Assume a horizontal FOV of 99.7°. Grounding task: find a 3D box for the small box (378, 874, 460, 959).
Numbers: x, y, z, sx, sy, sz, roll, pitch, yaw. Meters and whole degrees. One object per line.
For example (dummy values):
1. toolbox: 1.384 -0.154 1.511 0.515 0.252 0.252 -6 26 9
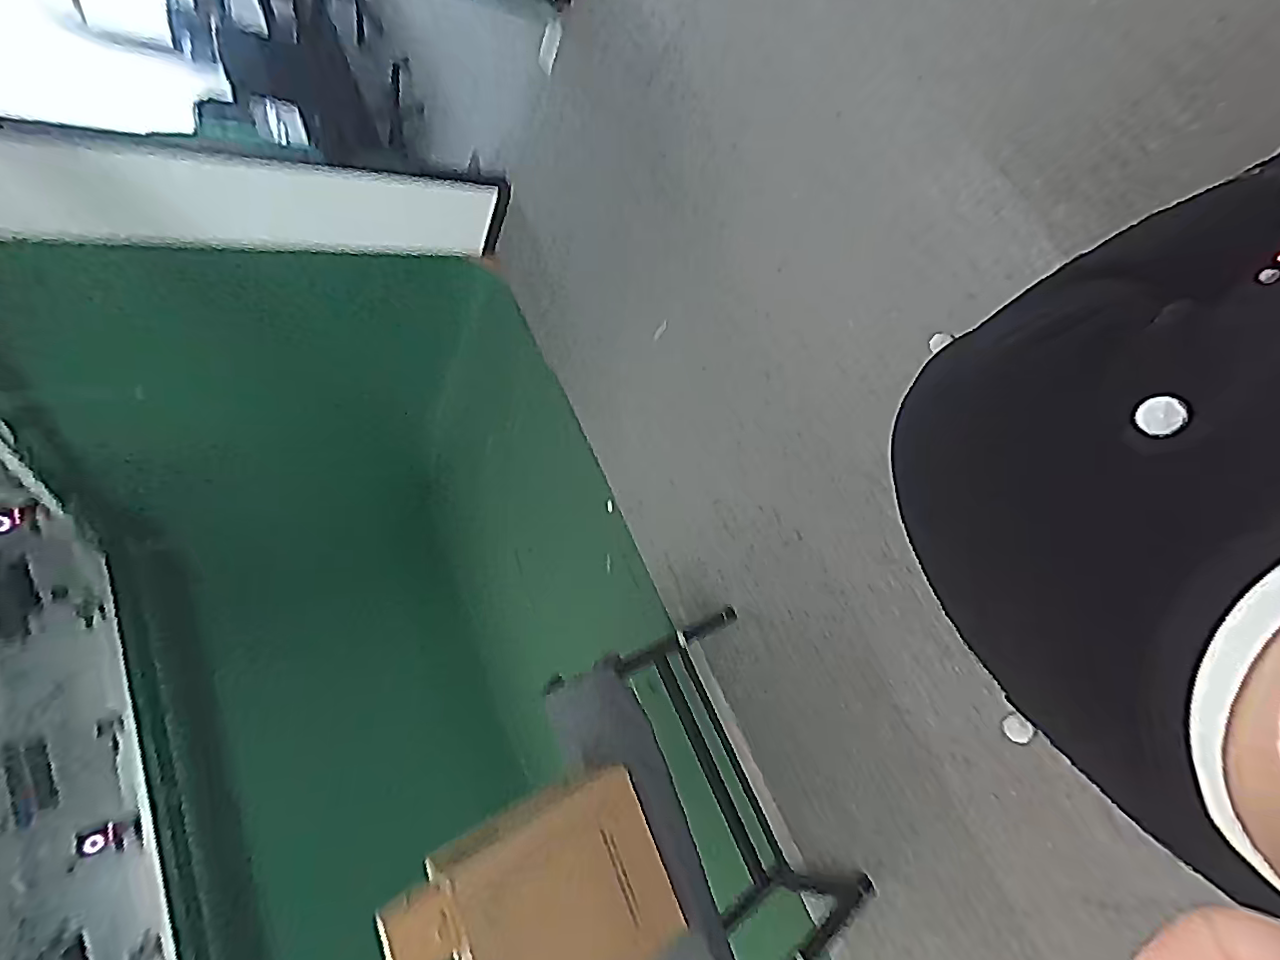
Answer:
1. small box: -0.638 1.281 1.561 0.179 0.176 0.168 -37 71 49
